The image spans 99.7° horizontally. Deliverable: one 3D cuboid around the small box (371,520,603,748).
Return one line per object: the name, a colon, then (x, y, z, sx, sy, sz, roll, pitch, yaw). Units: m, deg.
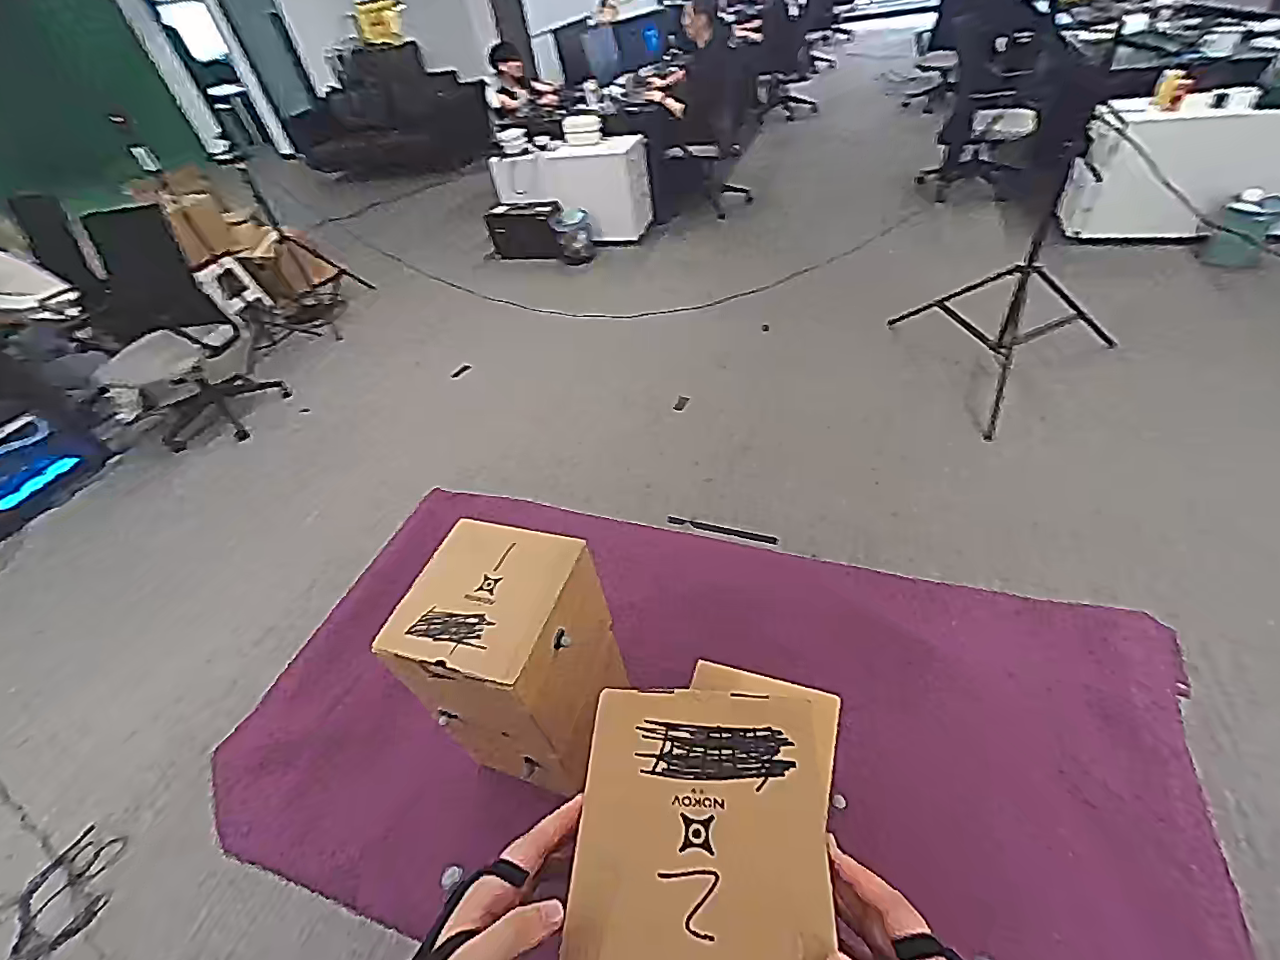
small box: (-0.152, 0.174, 0.614, 0.168, 0.176, 0.179, 8, 46, 18)

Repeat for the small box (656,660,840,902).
small box: (0.127, 0.343, 0.623, 0.168, 0.176, 0.179, 8, 47, 19)

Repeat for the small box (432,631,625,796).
small box: (-0.132, 0.295, 0.723, 0.179, 0.176, 0.168, 8, 47, 19)
